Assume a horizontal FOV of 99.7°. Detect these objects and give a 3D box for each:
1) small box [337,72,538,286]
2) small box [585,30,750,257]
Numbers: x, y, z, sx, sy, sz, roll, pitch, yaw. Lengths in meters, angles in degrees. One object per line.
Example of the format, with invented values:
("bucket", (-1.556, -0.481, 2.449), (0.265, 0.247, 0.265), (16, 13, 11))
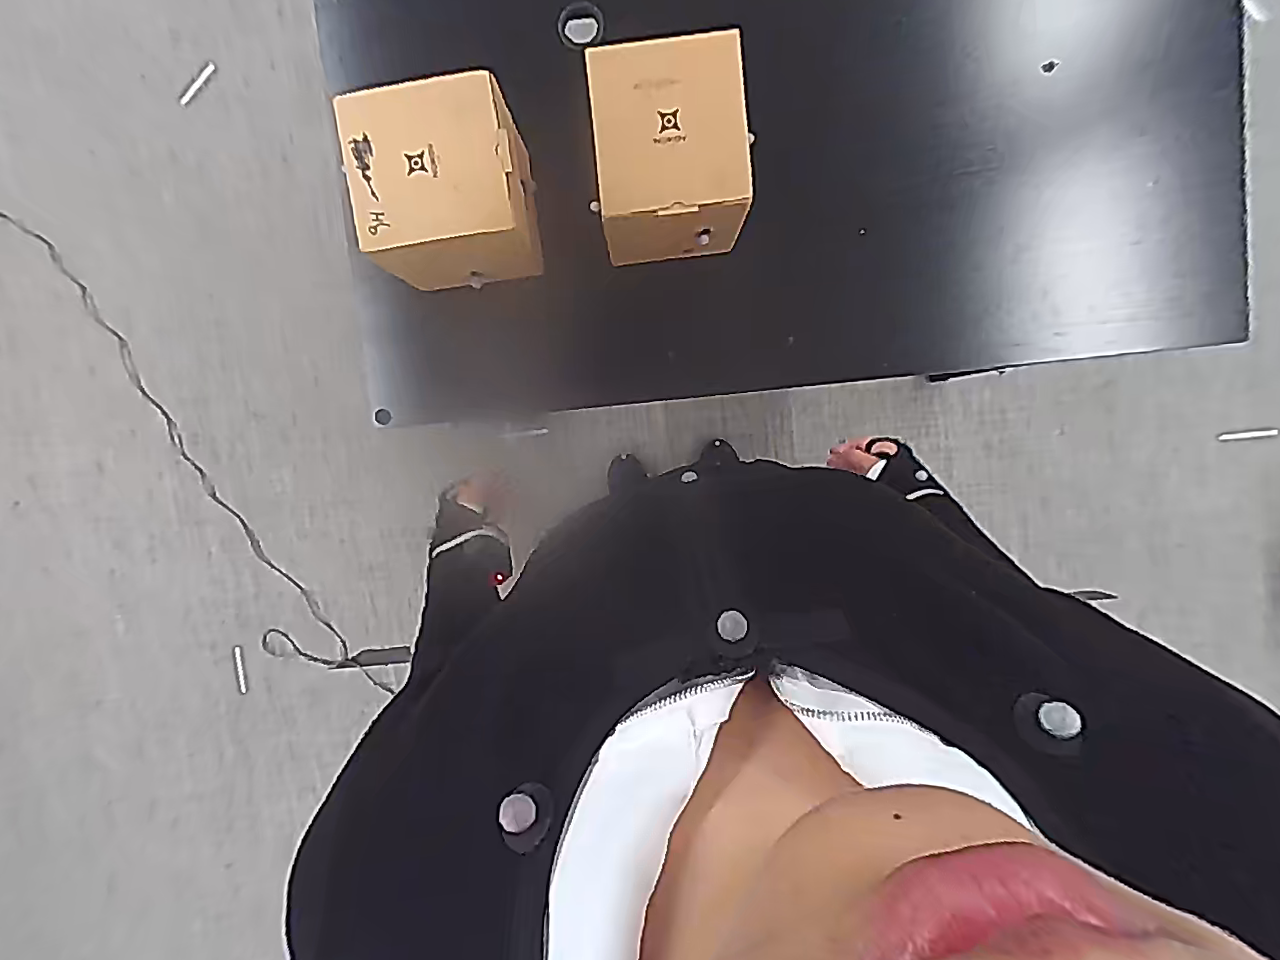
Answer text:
("small box", (-0.228, -0.350, 0.660), (0.179, 0.176, 0.168), (-8, 94, 0))
("small box", (0.032, -0.385, 0.655), (0.168, 0.176, 0.179), (-6, 94, 0))
